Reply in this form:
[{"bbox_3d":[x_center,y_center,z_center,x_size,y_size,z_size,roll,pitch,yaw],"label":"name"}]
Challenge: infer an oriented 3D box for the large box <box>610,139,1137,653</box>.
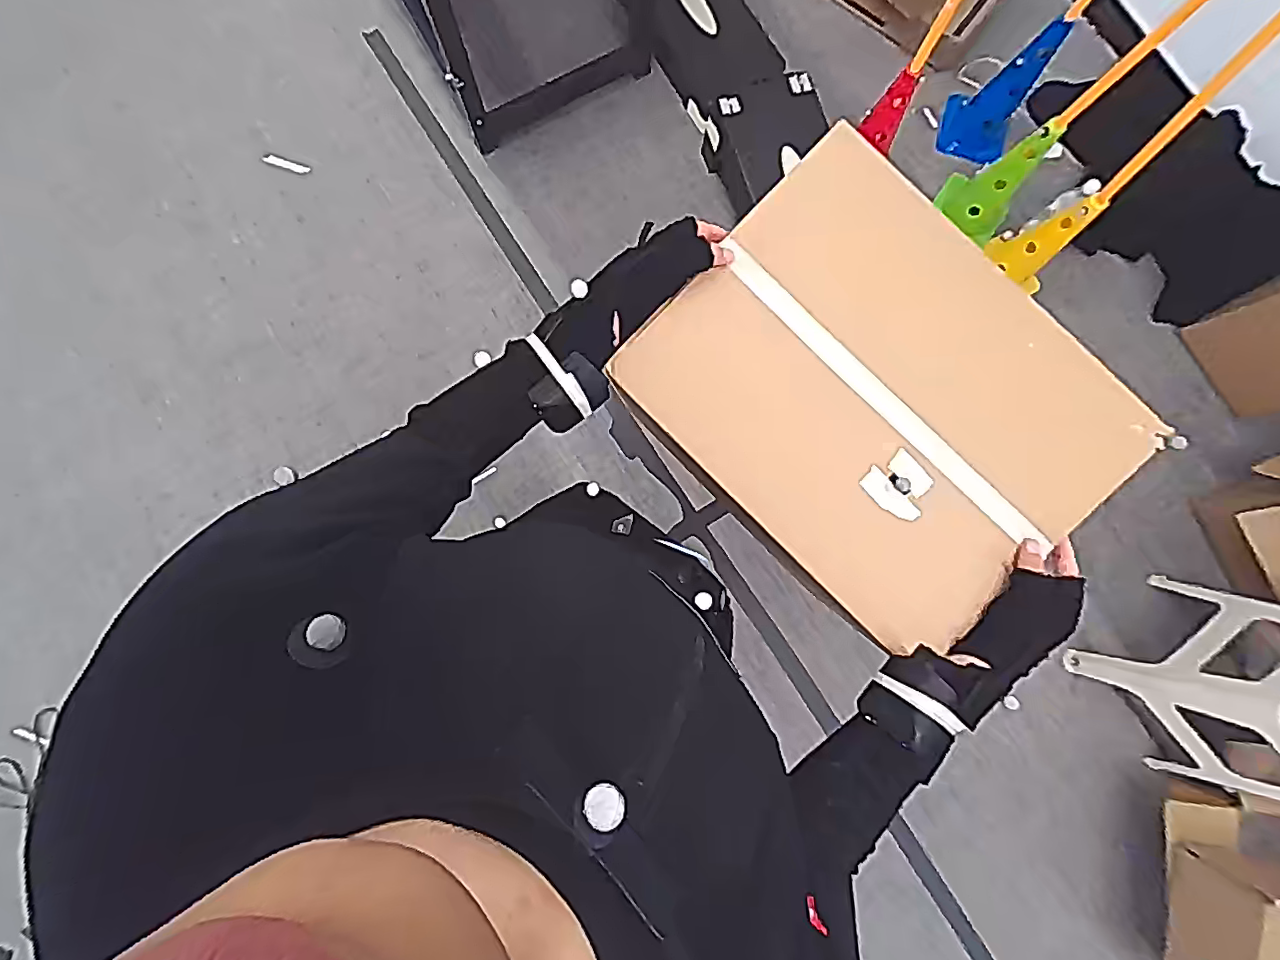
[{"bbox_3d":[0.218,-0.081,0.655,0.408,0.320,0.320,45,93,0],"label":"large box"}]
